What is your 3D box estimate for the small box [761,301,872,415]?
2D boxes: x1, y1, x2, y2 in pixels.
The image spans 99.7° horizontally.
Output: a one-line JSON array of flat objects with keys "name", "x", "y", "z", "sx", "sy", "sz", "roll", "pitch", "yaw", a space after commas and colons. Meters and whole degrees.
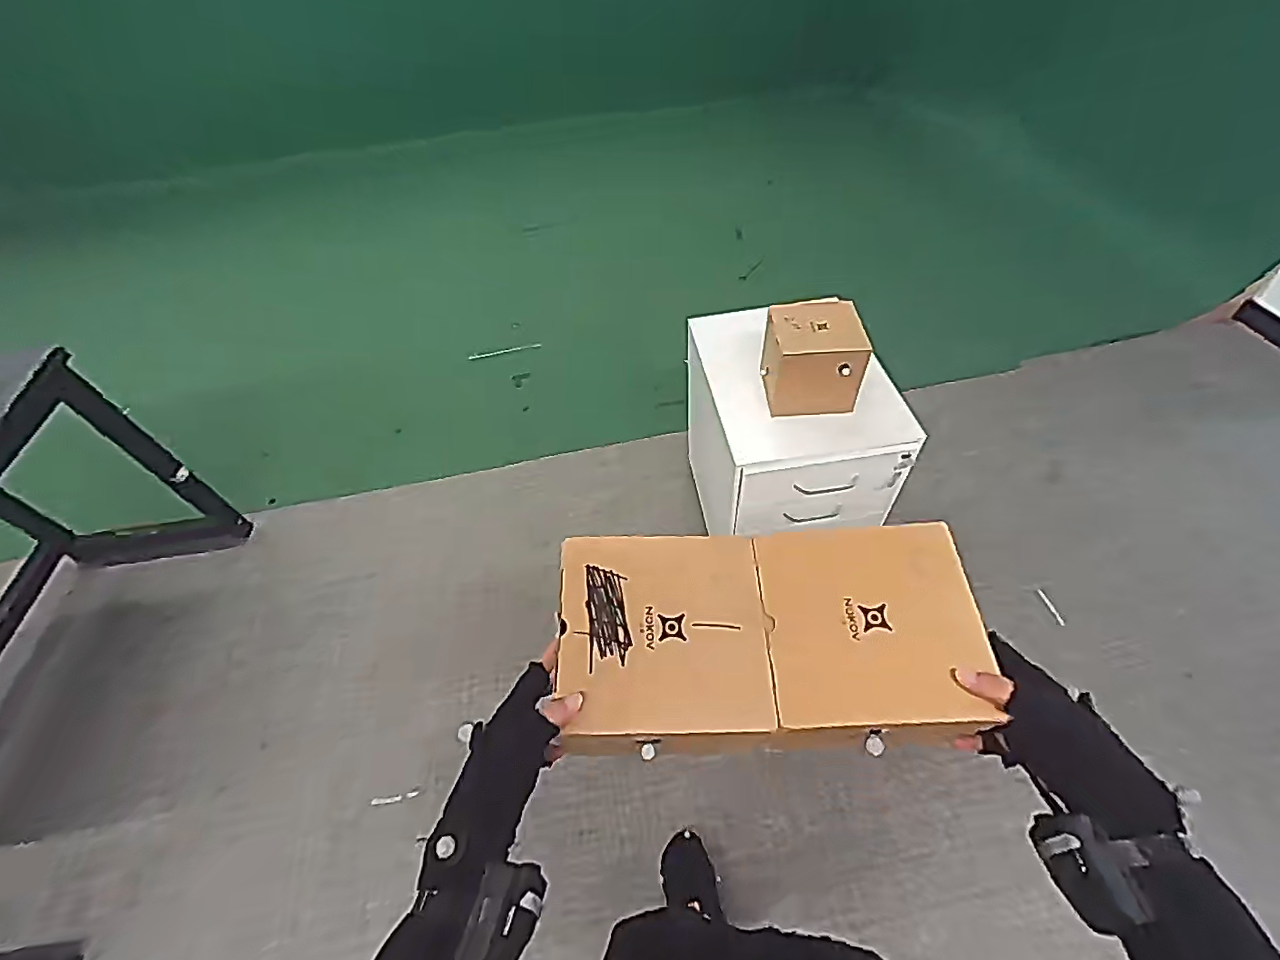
[{"name": "small box", "x": 0.360, "y": -0.253, "z": 1.139, "sx": 0.179, "sy": 0.176, "sz": 0.168, "roll": -3, "pitch": 51, "yaw": 3}]
